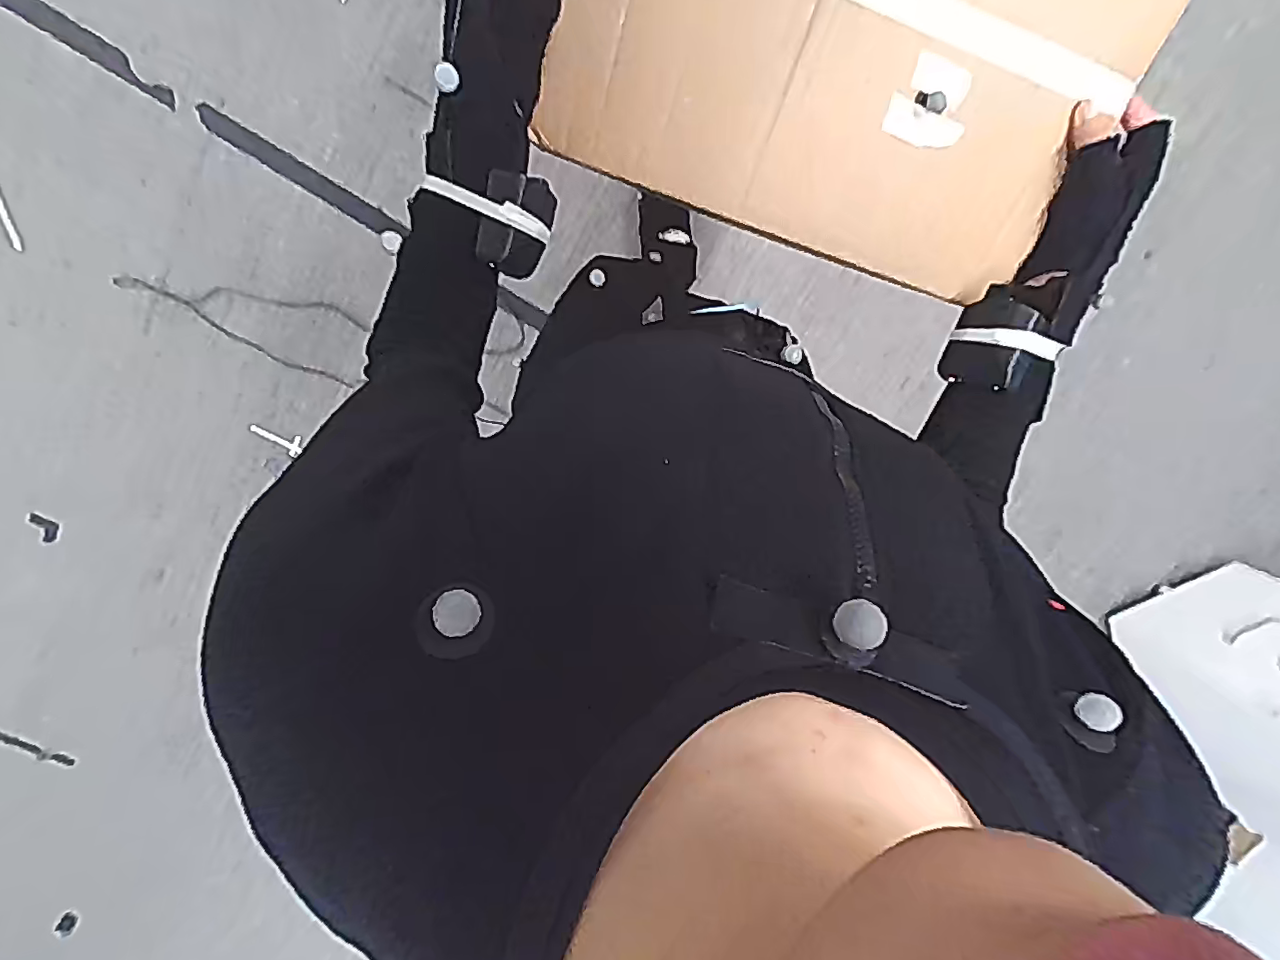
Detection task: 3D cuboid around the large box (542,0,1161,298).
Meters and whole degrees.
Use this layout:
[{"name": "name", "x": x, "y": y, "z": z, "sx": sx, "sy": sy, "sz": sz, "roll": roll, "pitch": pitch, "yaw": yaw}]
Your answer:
[{"name": "large box", "x": 0.150, "y": -0.406, "z": 0.505, "sx": 0.408, "sy": 0.320, "sz": 0.320, "roll": 15, "pitch": 118, "yaw": -11}]
